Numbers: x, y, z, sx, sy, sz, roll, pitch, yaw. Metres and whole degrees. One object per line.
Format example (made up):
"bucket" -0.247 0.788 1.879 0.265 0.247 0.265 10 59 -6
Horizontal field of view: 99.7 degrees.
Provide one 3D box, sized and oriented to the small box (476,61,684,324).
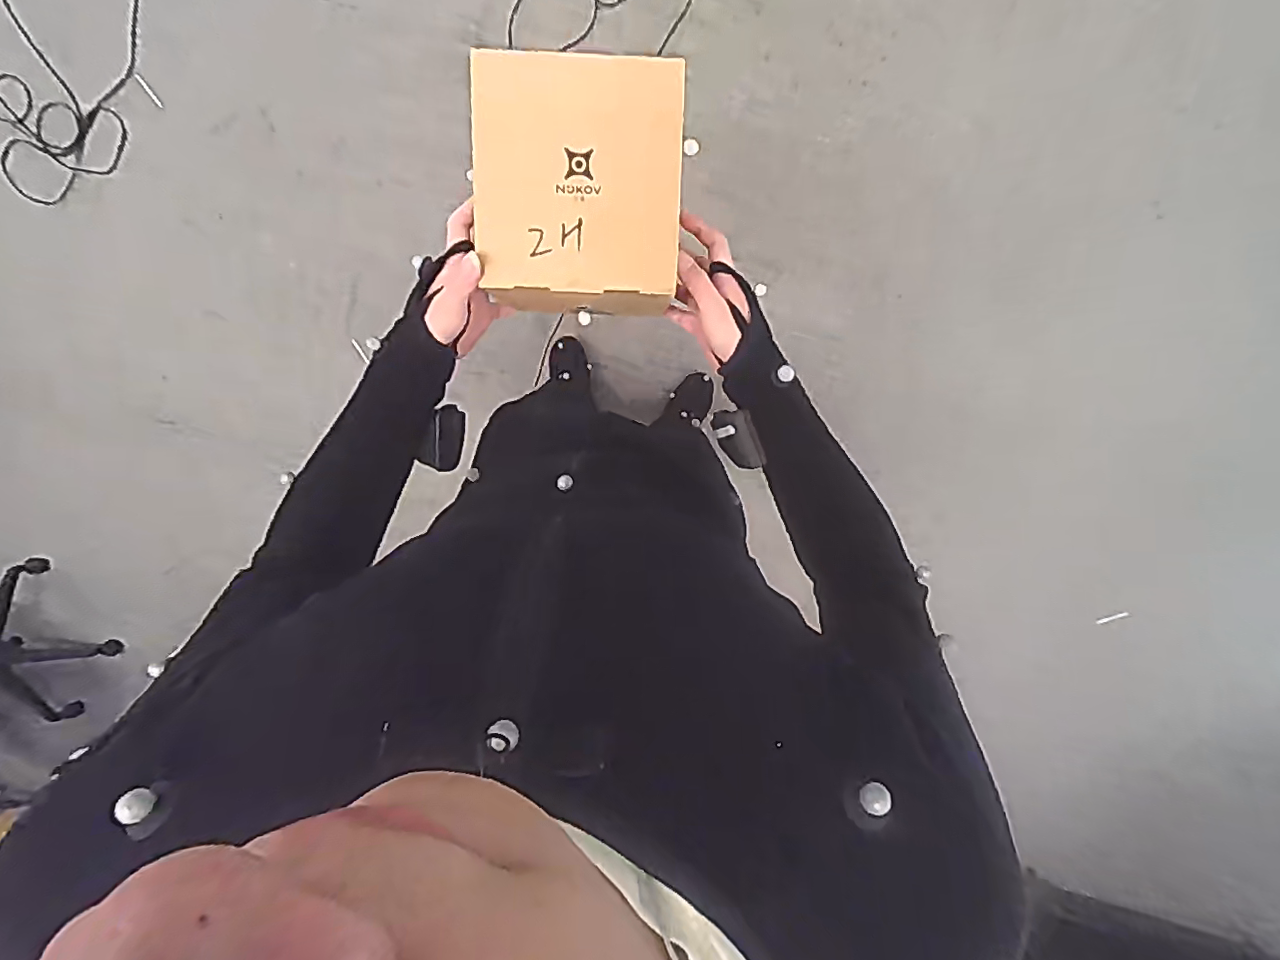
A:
"small box" -0.054 -0.253 0.518 0.168 0.176 0.179 2 101 -2
